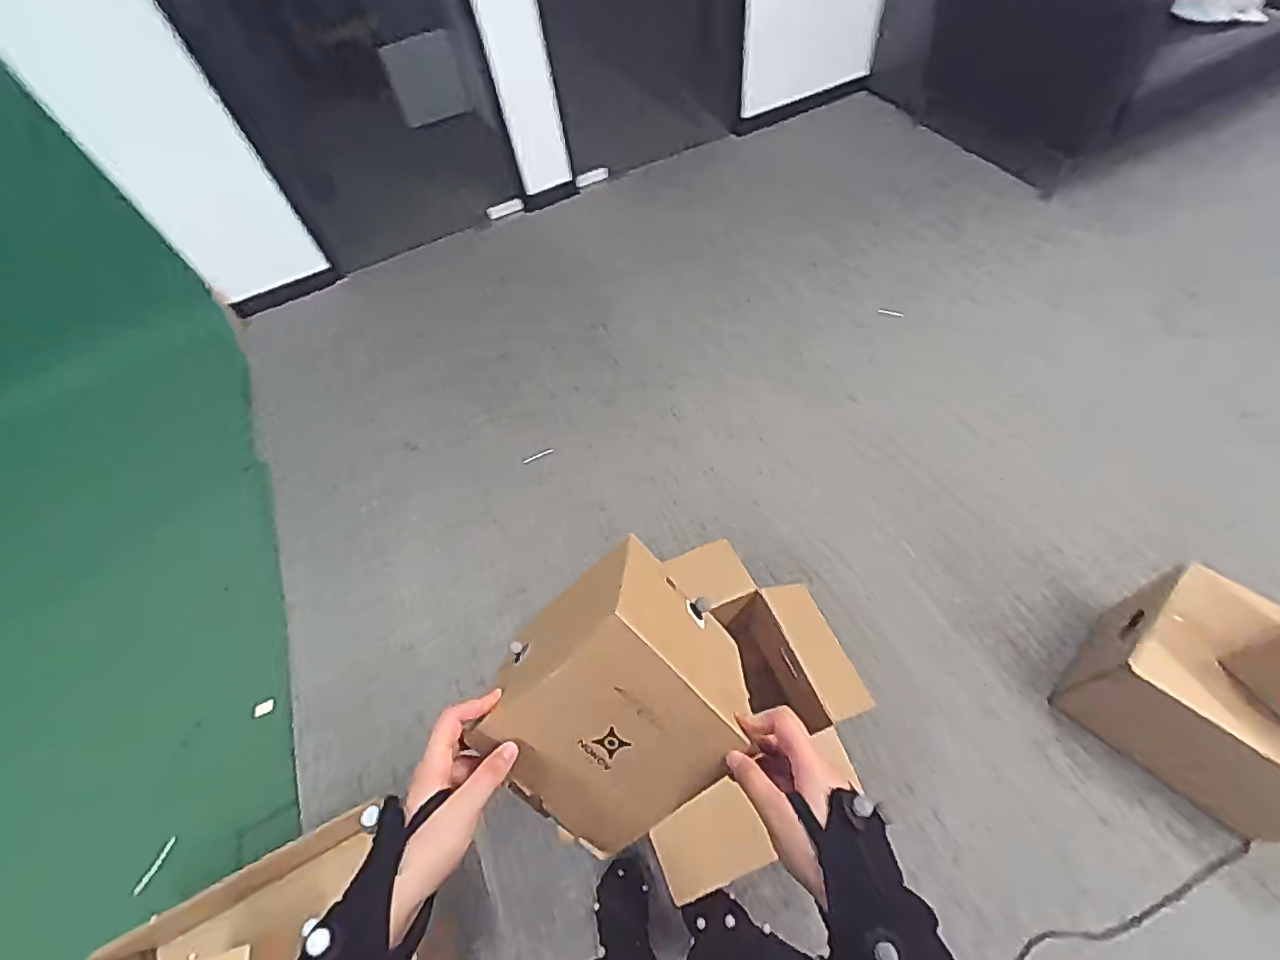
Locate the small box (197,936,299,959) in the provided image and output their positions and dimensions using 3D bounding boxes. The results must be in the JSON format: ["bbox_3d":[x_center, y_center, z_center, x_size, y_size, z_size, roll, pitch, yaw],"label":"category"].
[{"bbox_3d":[-0.791,1.004,1.033,0.179,0.176,0.168,-14,55,-4],"label":"small box"}]

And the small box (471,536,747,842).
[{"bbox_3d":[-0.024,0.186,0.524,0.179,0.176,0.168,-43,100,10],"label":"small box"}]
